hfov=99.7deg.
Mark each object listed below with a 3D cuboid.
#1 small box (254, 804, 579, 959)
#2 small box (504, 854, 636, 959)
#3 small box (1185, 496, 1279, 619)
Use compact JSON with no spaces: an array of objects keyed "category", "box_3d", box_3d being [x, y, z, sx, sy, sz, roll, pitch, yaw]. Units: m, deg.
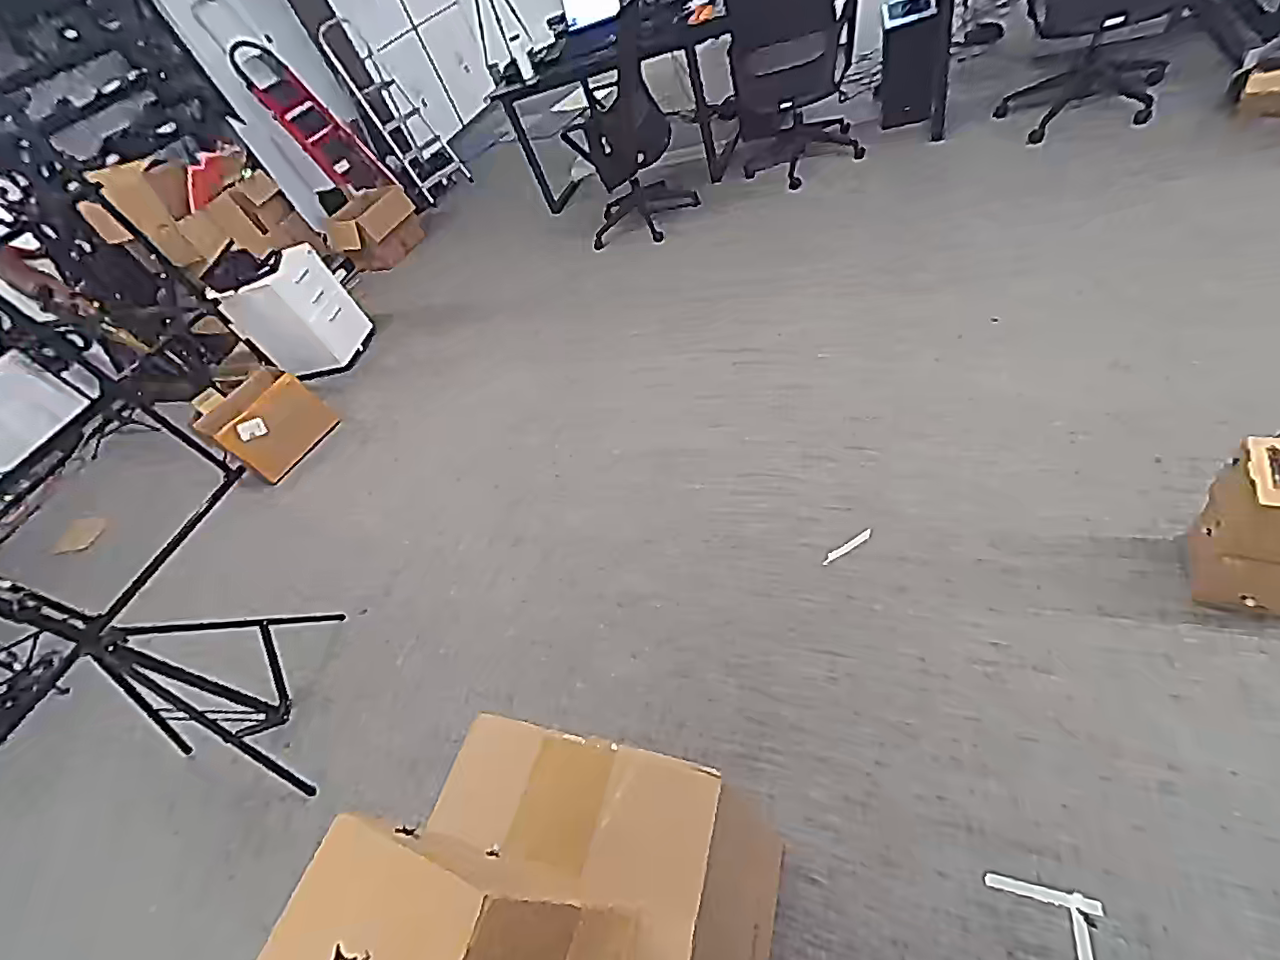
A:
[{"category":"small box","box_3d":[-0.180,0.397,0.440,0.179,0.176,0.168,5,54,27]},{"category":"small box","box_3d":[-0.123,0.502,0.554,0.179,0.176,0.168,3,53,26]},{"category":"small box","box_3d":[1.272,0.160,1.118,0.168,0.176,0.179,9,56,30]}]
